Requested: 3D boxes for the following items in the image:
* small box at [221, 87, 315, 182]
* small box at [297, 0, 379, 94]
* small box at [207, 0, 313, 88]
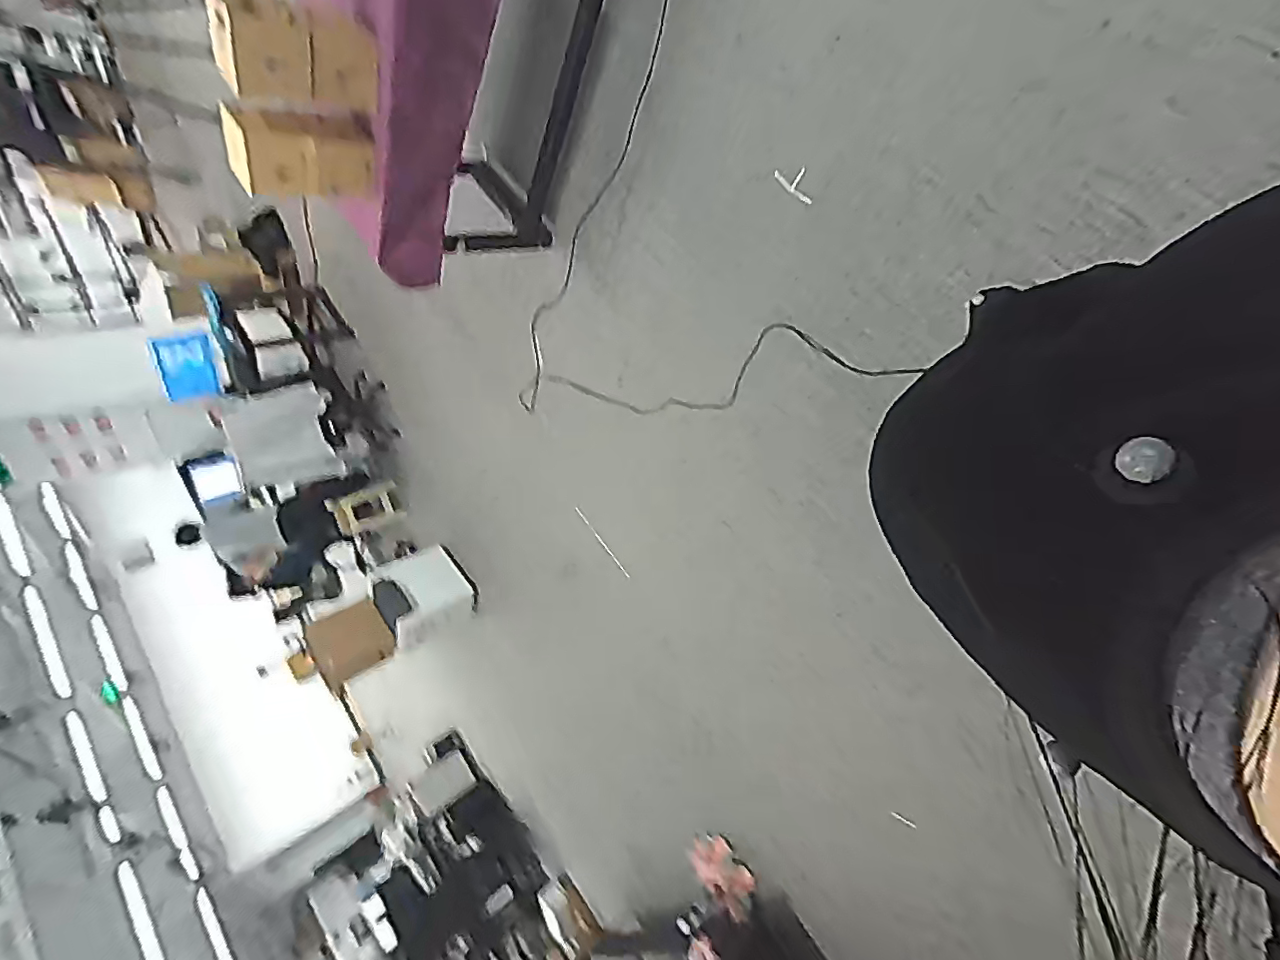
[{"bbox_3d":[-1.026,-0.958,1.507,0.179,0.176,0.168,50,138,20],"label":"small box"},{"bbox_3d":[-0.807,-1.154,1.421,0.168,0.176,0.179,51,139,17],"label":"small box"},{"bbox_3d":[-0.920,-1.098,1.315,0.168,0.176,0.179,52,139,16],"label":"small box"}]
